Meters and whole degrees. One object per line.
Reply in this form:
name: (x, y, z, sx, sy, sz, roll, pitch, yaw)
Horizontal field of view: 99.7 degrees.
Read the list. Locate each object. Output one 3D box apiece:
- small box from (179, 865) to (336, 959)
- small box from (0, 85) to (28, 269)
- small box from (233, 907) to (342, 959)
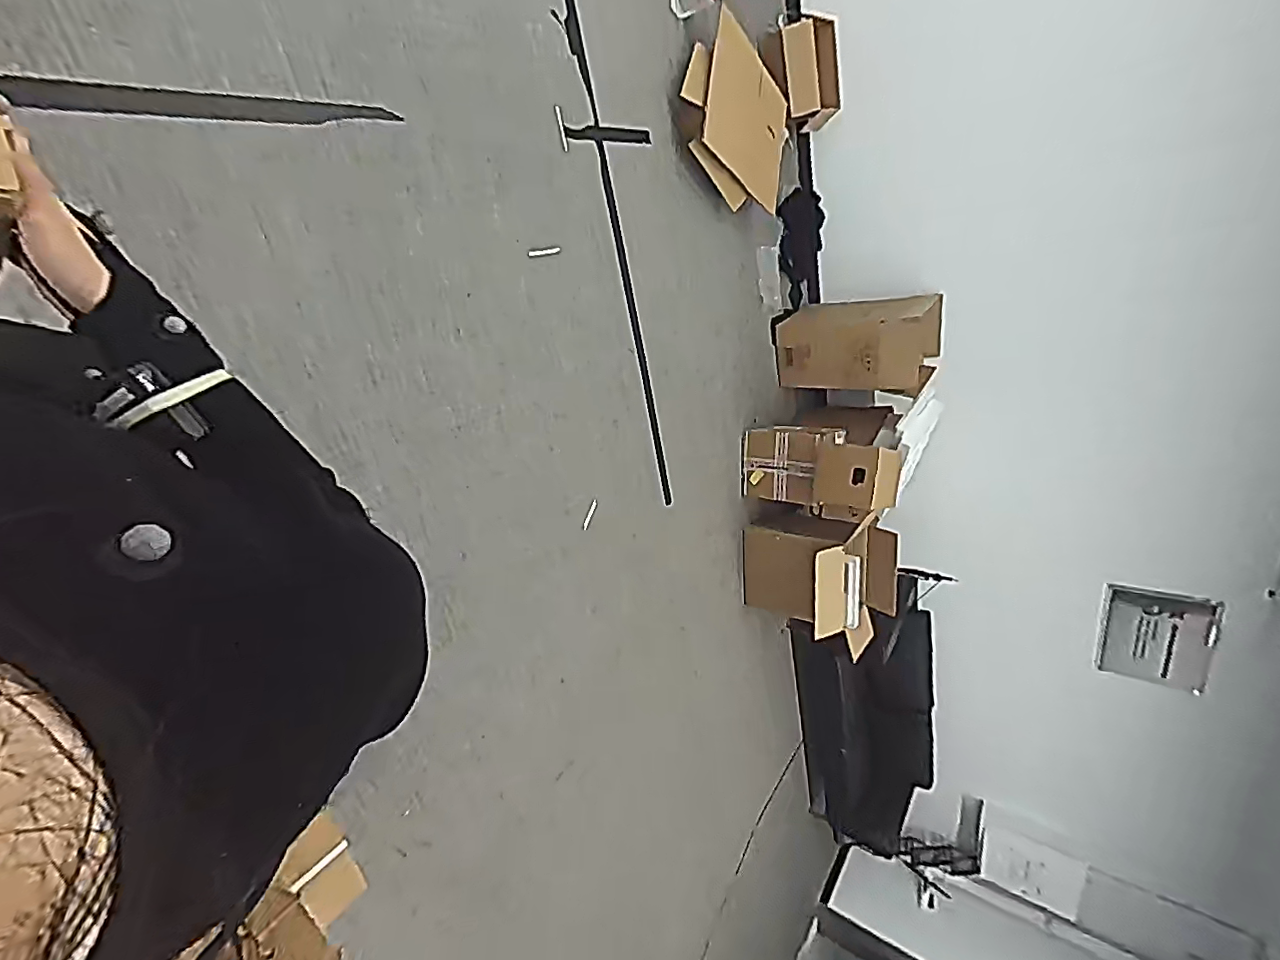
small box: (-0.743, 0.910, 1.054, 0.179, 0.176, 0.168, -35, 120, -42)
small box: (-0.474, -0.223, 0.286, 0.168, 0.176, 0.179, -19, 99, -53)
small box: (-0.616, 0.914, 0.952, 0.168, 0.176, 0.179, -35, 120, -43)
